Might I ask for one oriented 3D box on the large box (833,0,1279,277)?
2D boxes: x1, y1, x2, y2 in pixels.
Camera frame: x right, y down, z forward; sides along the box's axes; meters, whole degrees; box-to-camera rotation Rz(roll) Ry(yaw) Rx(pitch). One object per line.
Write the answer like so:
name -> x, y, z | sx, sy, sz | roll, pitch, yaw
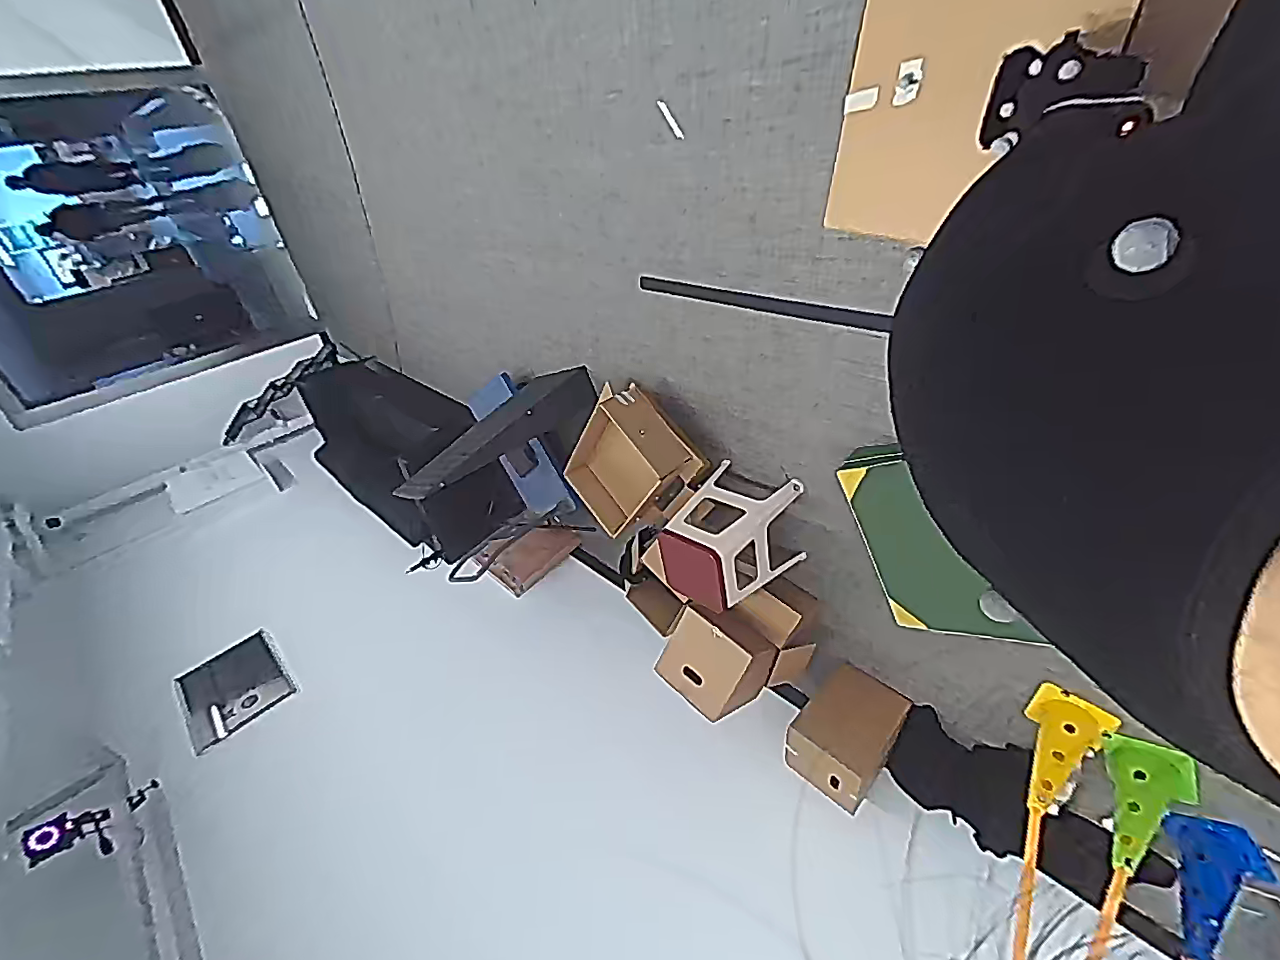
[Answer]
large box -> 0.539, -0.486, 0.745 | 0.320, 0.408, 0.320 | 40, 137, 43
